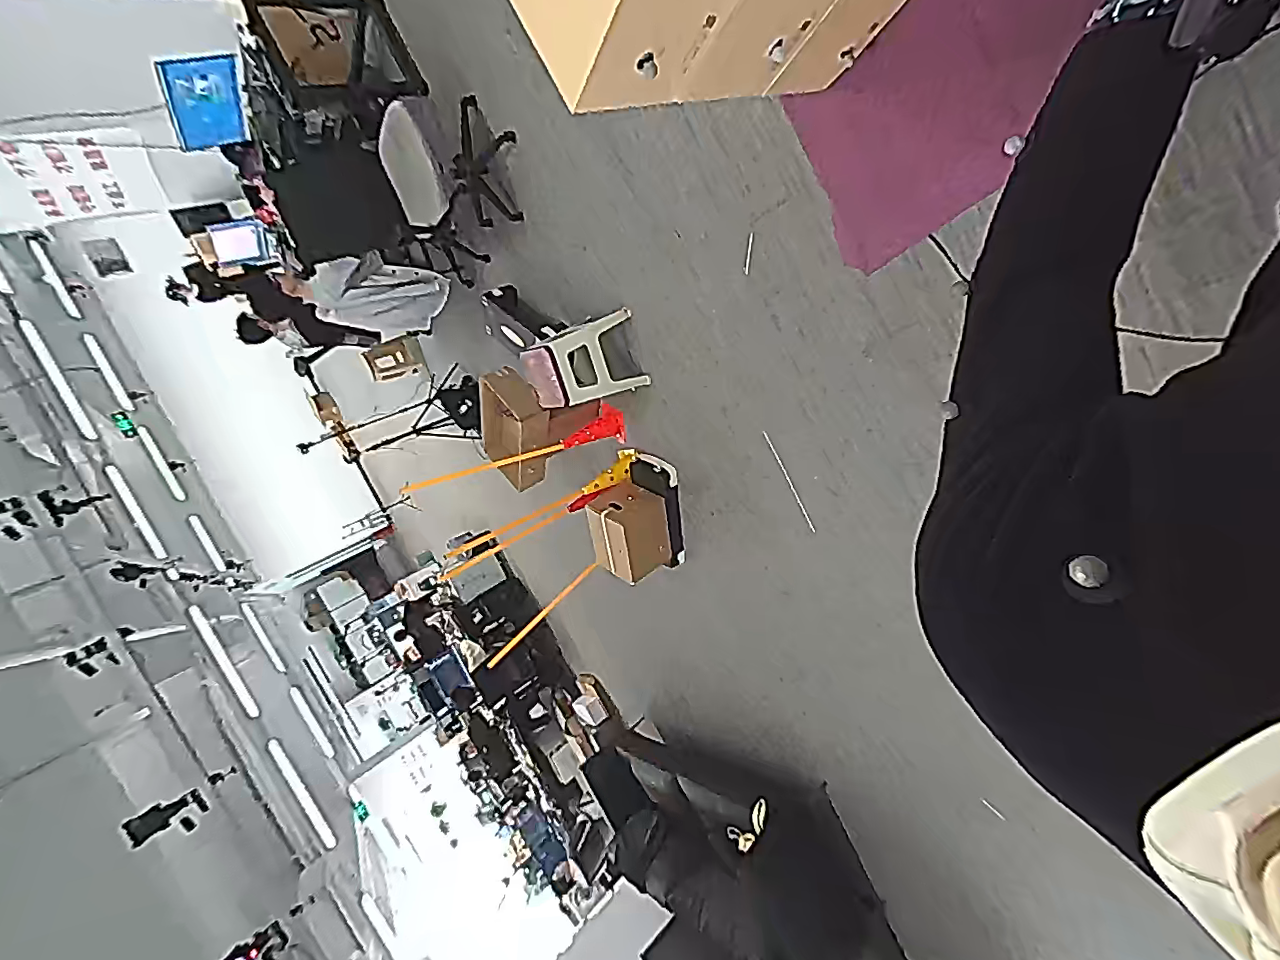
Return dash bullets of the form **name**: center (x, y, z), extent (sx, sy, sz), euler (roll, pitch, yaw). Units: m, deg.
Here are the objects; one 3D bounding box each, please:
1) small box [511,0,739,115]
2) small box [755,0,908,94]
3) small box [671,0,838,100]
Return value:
- **small box**: center (-0.015, -0.531, 0.566), extent (0.179, 0.176, 0.168), euler (61, 150, -1)
- **small box**: center (0.227, -0.668, 0.734), extent (0.179, 0.176, 0.168), euler (61, 149, -2)
- **small box**: center (0.106, -0.600, 0.649), extent (0.179, 0.176, 0.168), euler (61, 150, -2)
